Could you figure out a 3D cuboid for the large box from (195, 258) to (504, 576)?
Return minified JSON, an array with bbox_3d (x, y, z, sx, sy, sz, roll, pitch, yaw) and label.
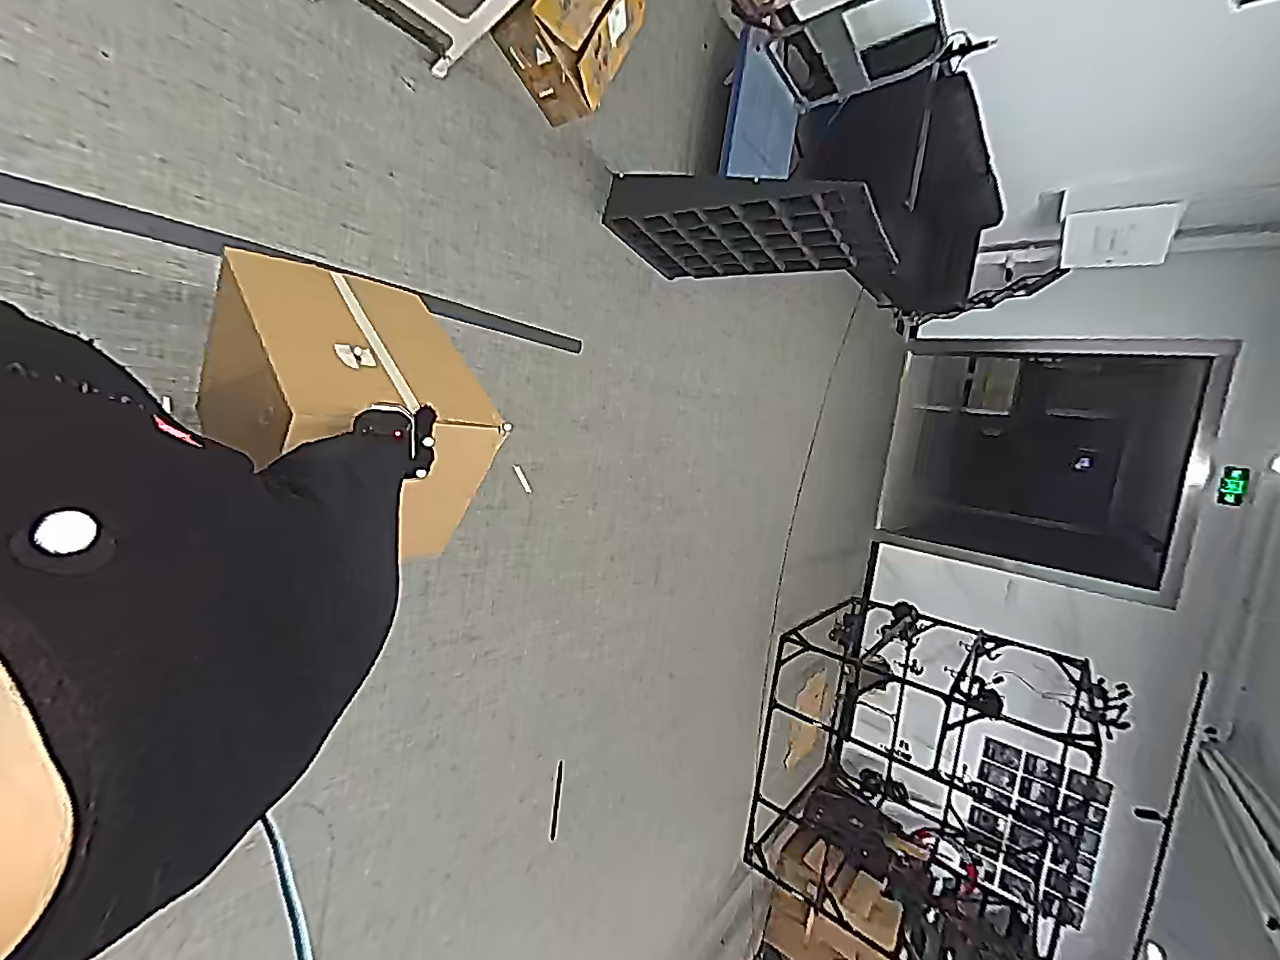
[{"bbox_3d":[-0.512,-0.102,0.931,0.320,0.408,0.320,-2,137,-50],"label":"large box"}]
